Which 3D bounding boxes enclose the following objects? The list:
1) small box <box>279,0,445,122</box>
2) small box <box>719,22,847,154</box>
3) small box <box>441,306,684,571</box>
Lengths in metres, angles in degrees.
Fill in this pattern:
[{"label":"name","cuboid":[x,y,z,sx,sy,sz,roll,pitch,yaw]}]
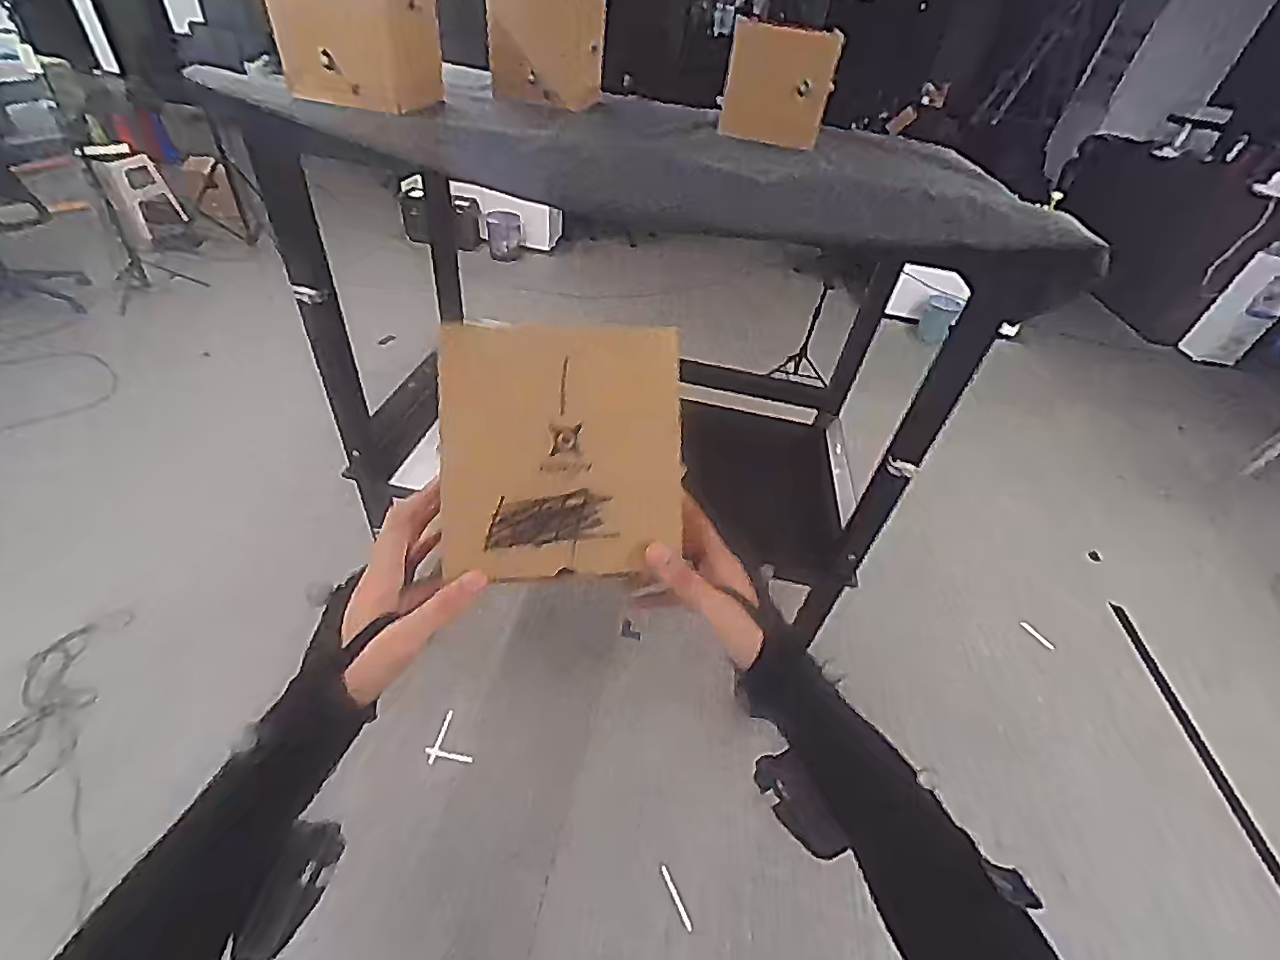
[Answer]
[{"label":"small box","cuboid":[-0.399,-0.650,0.794,0.168,0.176,0.179,9,42,0]},{"label":"small box","cuboid":[0.255,-0.710,0.984,0.179,0.176,0.168,13,41,4]},{"label":"small box","cuboid":[-0.062,-0.028,0.444,0.168,0.179,0.176,-1,0,-10]}]
